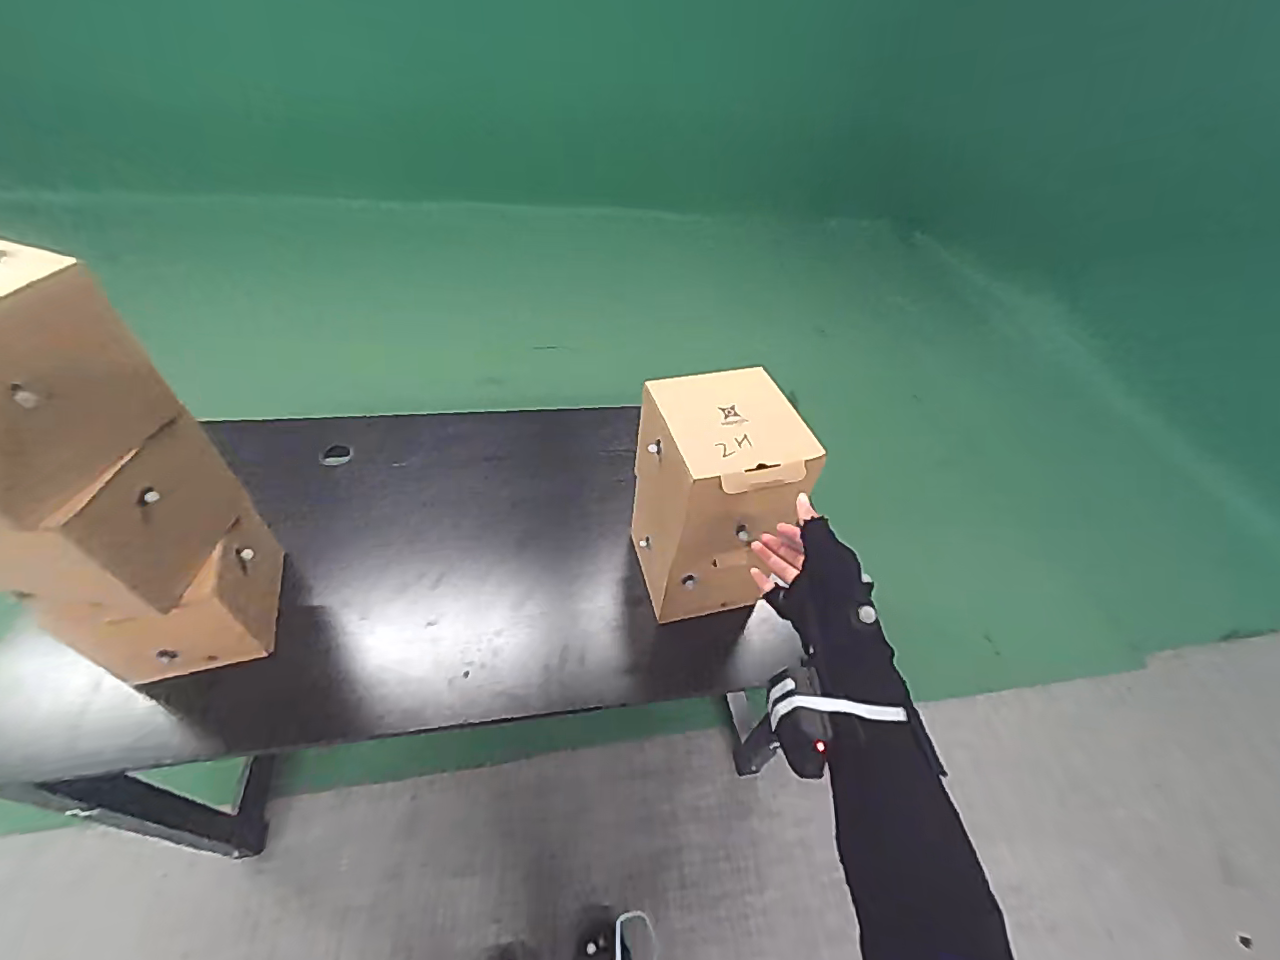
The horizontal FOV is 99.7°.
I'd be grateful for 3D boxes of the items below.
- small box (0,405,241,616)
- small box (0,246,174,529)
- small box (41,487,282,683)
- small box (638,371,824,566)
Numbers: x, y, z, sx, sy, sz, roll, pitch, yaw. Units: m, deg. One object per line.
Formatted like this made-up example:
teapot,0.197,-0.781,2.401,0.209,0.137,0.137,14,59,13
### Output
small box,-0.584,0.029,0.584,0.168,0.176,0.179,7,48,-2
small box,-0.571,-0.083,0.465,0.168,0.176,0.179,15,50,5
small box,-0.596,0.136,0.708,0.168,0.176,0.179,-10,52,-16
small box,0.101,-0.016,0.703,0.168,0.176,0.179,-10,51,-14
